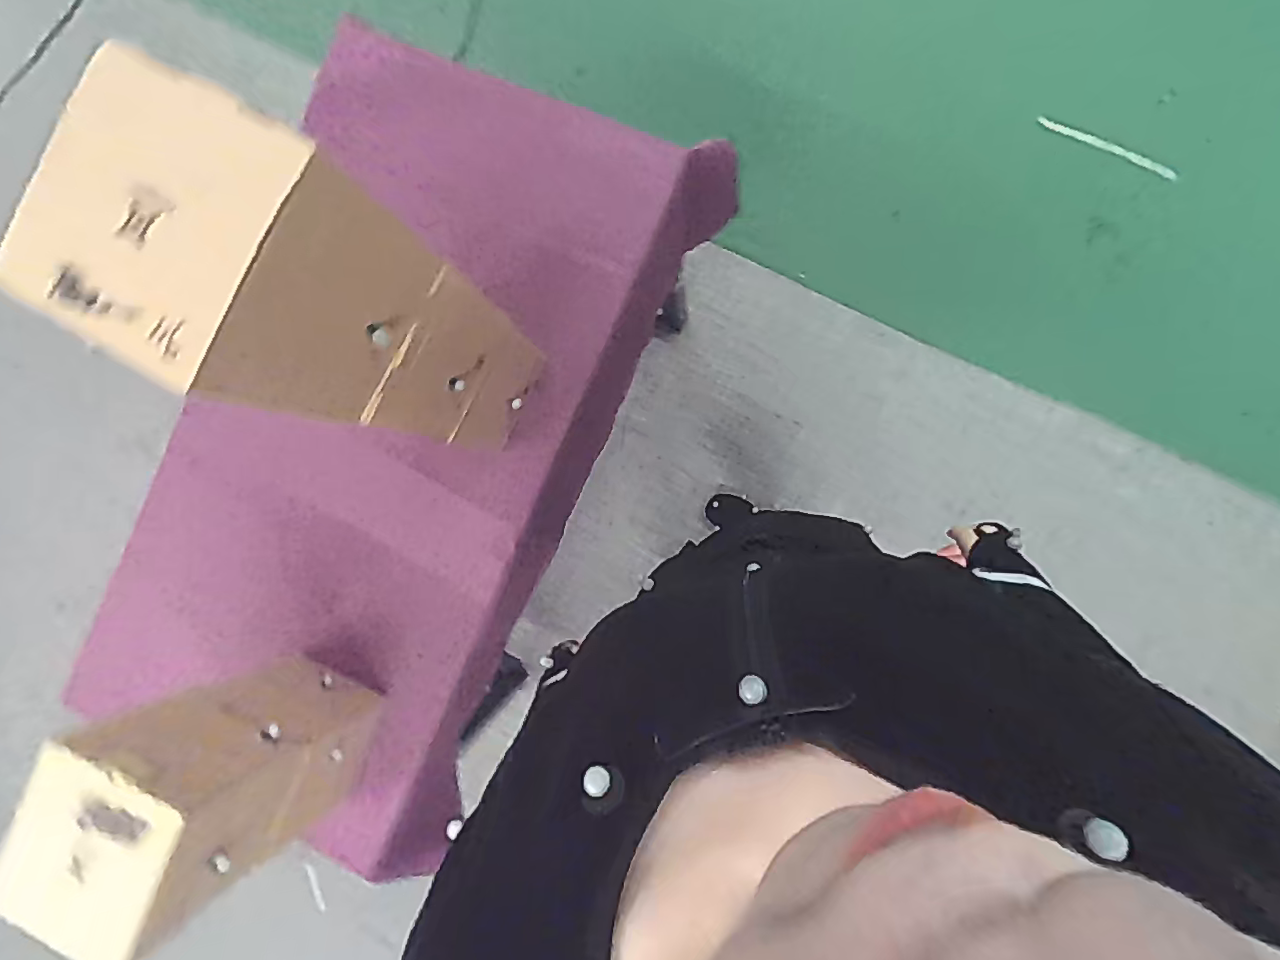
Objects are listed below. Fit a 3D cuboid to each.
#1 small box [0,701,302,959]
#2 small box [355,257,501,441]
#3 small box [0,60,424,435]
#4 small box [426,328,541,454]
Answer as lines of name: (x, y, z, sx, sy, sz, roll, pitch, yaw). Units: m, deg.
small box: (-0.517, 0.375, 0.593, 0.168, 0.176, 0.179, 22, 91, 7)
small box: (-0.282, -0.151, 0.583, 0.179, 0.176, 0.168, 27, 91, 6)
small box: (-0.300, -0.154, 0.419, 0.168, 0.176, 0.179, 29, 91, 6)
small box: (-0.265, -0.144, 0.744, 0.179, 0.176, 0.168, 27, 92, 6)
